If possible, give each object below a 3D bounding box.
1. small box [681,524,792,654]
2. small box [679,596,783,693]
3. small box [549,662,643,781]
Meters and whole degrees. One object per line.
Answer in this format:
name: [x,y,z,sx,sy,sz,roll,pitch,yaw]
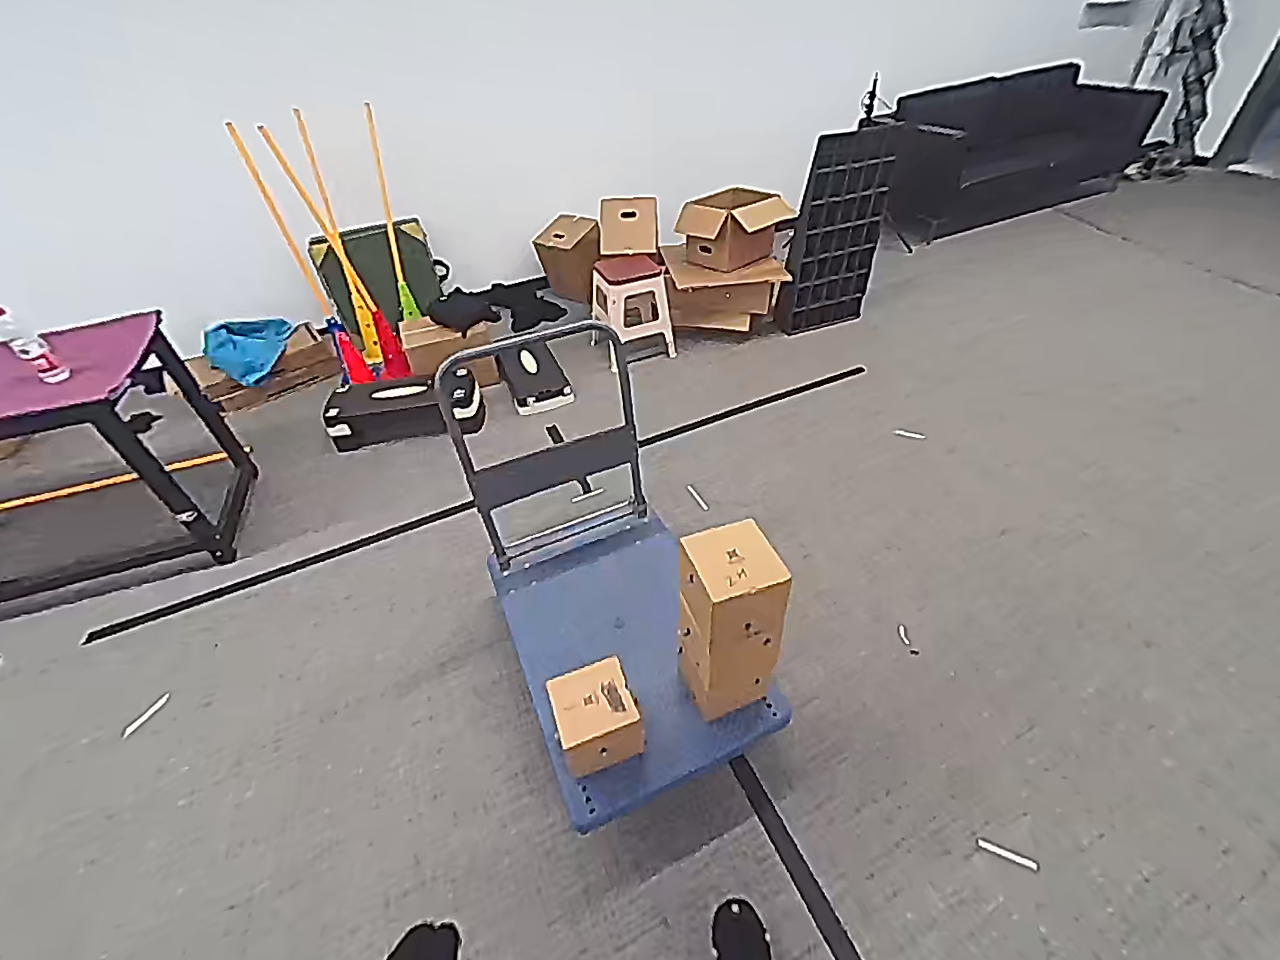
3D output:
small box: [0.188,0.222,1.108,0.168,0.176,0.179,-14,42,-11]
small box: [0.198,0.348,1.215,0.179,0.176,0.168,-15,42,-13]
small box: [-0.098,0.559,1.250,0.179,0.176,0.168,-17,43,-12]
